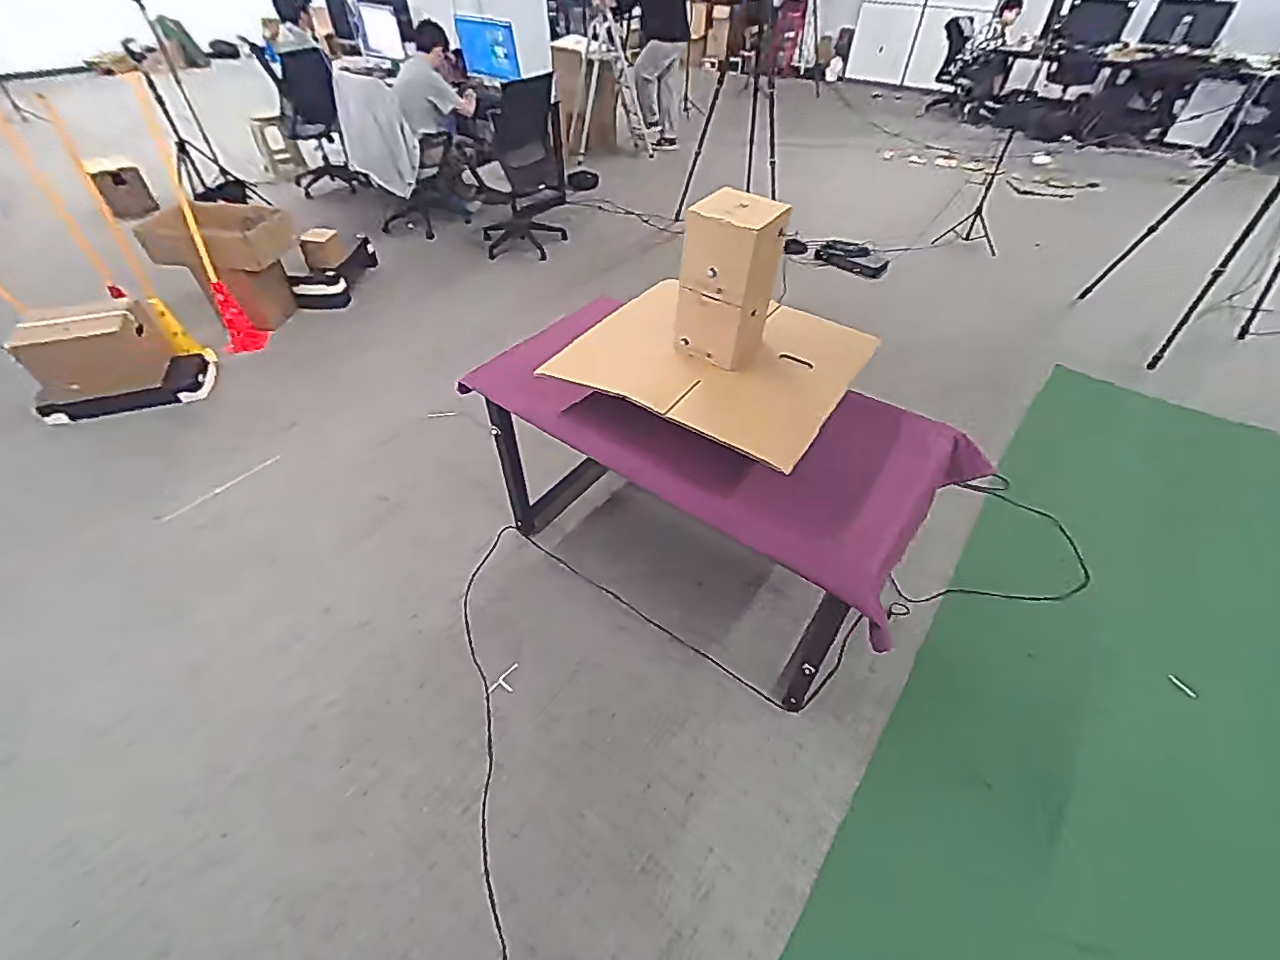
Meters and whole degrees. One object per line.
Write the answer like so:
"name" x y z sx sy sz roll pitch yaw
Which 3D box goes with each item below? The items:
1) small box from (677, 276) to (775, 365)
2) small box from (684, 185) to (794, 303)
"small box" 0.202 -0.405 1.307 0.168 0.176 0.179 29 51 21
"small box" 0.210 -0.519 1.189 0.168 0.176 0.179 28 52 21
